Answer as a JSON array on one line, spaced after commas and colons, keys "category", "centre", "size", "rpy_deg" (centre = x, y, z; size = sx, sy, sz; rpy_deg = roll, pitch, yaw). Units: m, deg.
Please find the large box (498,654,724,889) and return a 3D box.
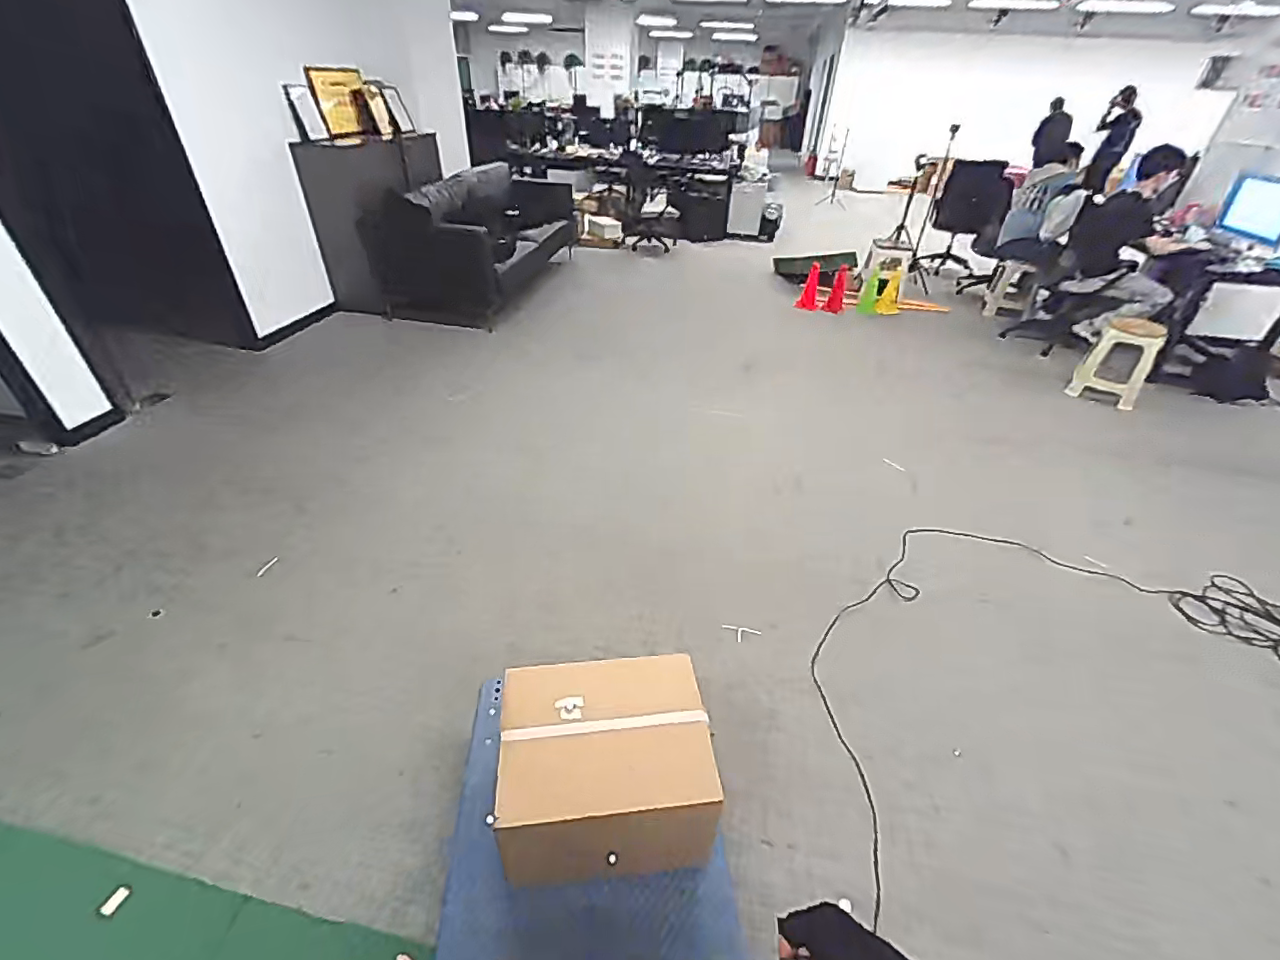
[{"category": "large box", "centre": [-0.068, 0.609, 1.146], "size": [0.408, 0.320, 0.320], "rpy_deg": [-3, 35, -7]}]
